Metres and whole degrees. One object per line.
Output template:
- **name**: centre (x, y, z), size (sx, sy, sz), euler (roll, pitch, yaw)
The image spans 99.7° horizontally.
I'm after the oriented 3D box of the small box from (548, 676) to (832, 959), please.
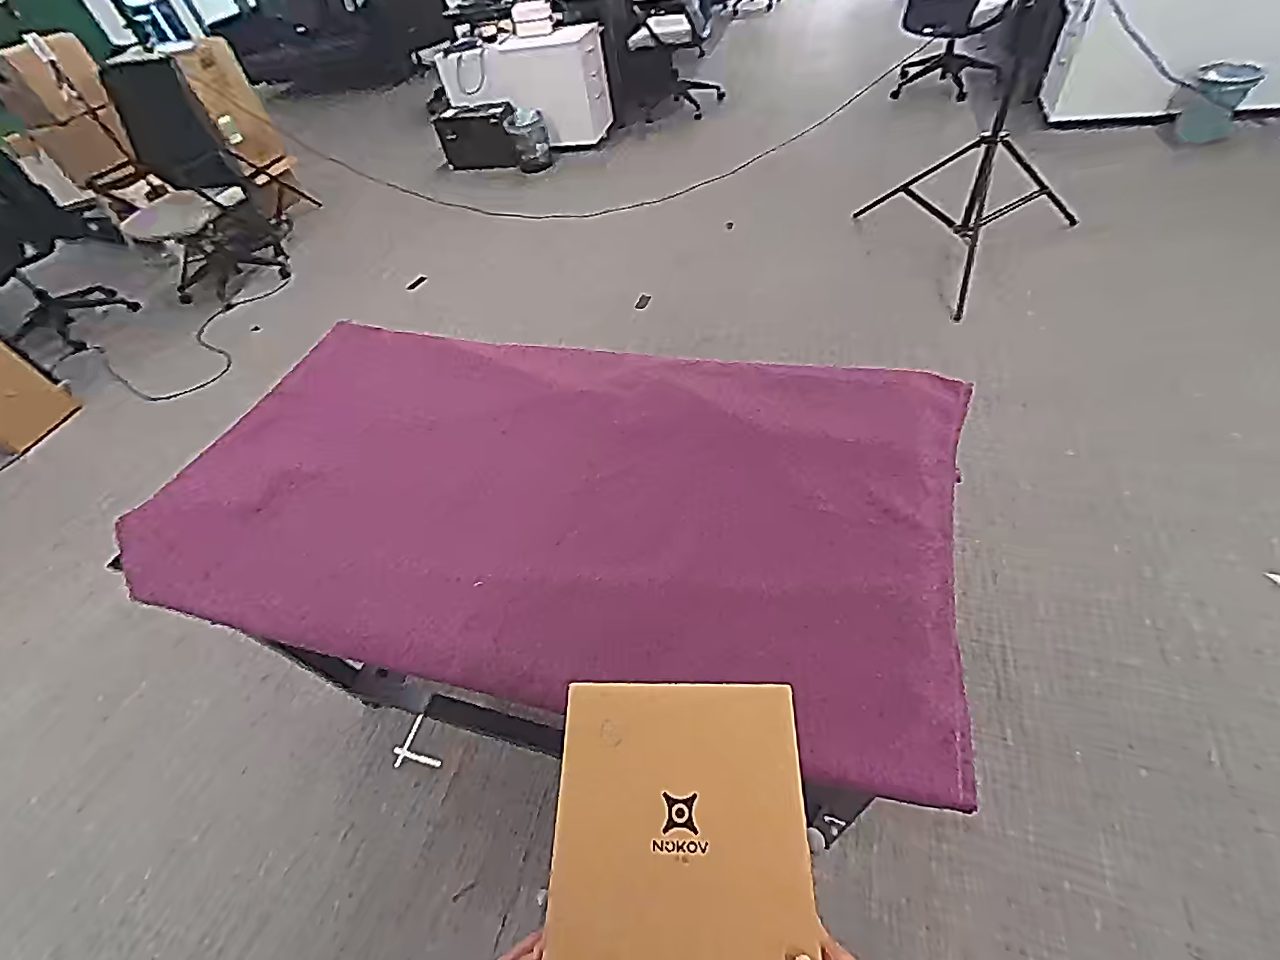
- **small box**: centre (0.036, 0.261, 0.415), size (0.168, 0.176, 0.179), euler (-1, 57, 5)
